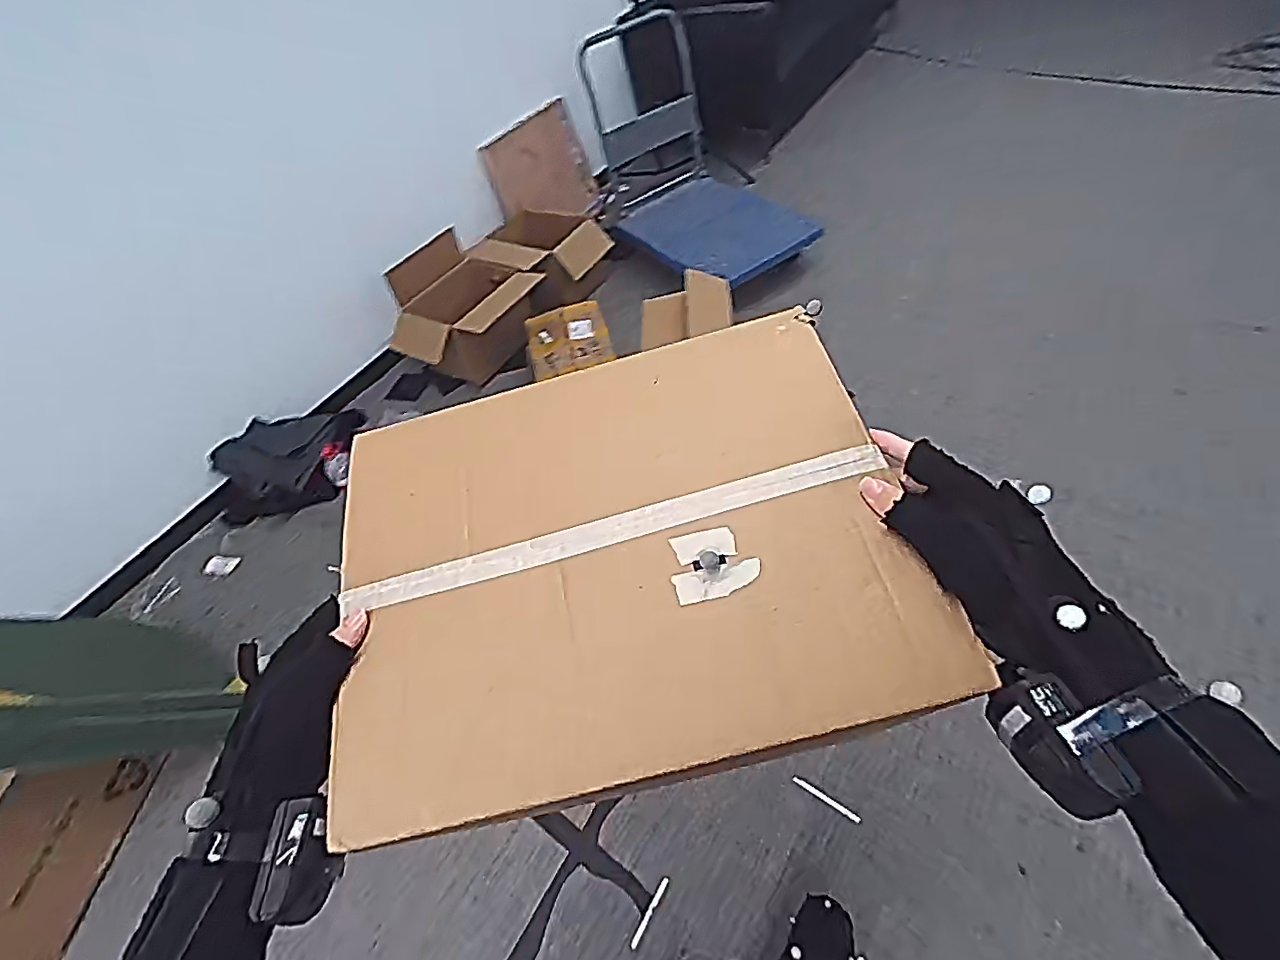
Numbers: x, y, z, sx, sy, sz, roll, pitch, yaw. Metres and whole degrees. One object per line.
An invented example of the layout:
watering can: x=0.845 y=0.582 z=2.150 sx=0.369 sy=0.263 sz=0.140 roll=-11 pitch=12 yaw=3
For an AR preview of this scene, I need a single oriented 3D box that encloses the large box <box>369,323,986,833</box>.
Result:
large box: x=0.013 y=0.113 z=0.534 sx=0.408 sy=0.320 sz=0.320 roll=-15 pitch=60 yaw=2
